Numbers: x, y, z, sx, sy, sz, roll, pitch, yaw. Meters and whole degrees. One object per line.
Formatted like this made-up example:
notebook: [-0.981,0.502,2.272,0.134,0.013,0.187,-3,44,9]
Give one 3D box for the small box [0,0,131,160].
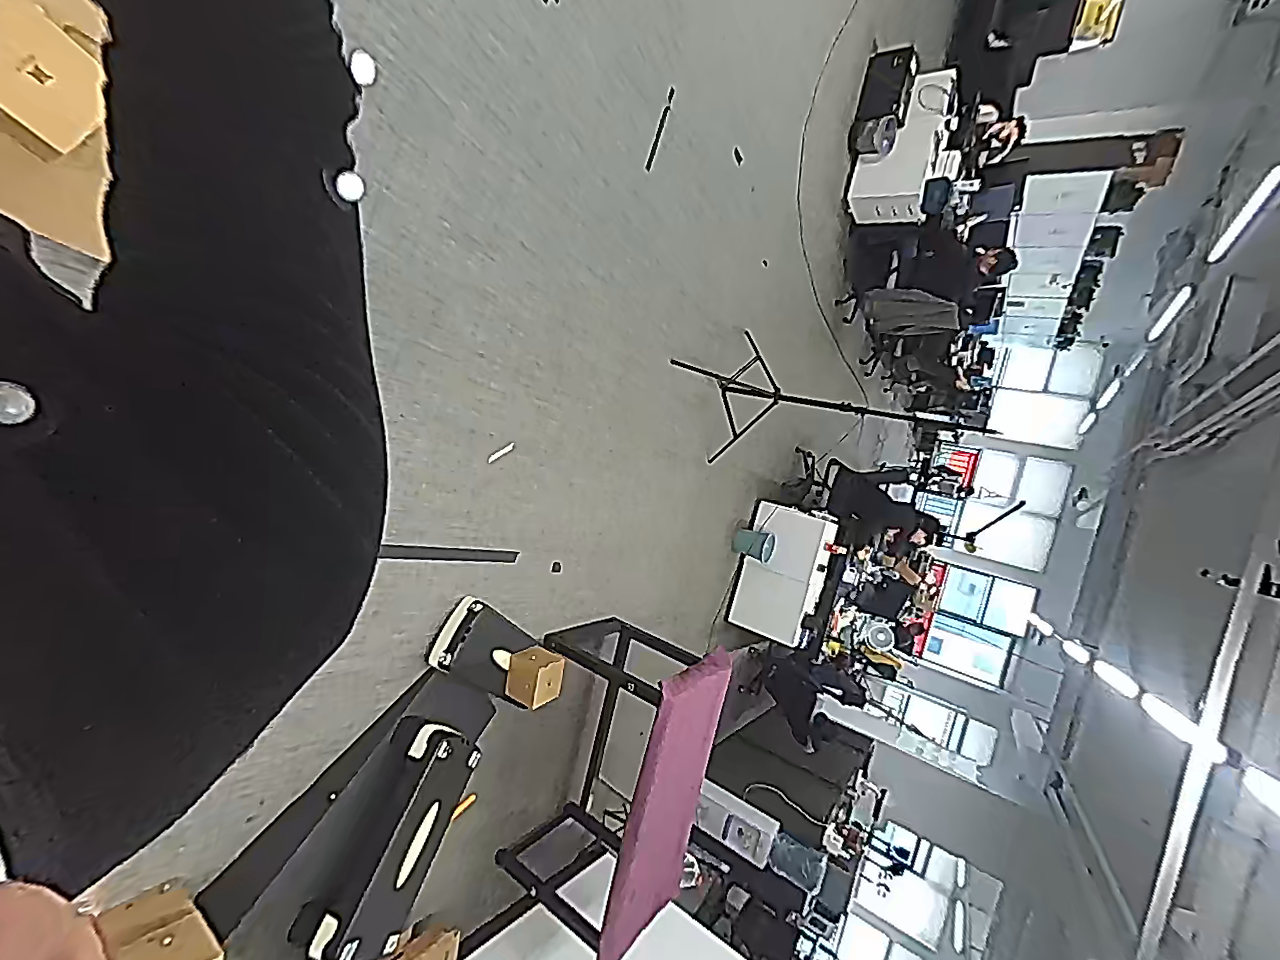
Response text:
small box: [-1.049,-0.684,0.932,0.168,0.176,0.179,-62,142,-15]
